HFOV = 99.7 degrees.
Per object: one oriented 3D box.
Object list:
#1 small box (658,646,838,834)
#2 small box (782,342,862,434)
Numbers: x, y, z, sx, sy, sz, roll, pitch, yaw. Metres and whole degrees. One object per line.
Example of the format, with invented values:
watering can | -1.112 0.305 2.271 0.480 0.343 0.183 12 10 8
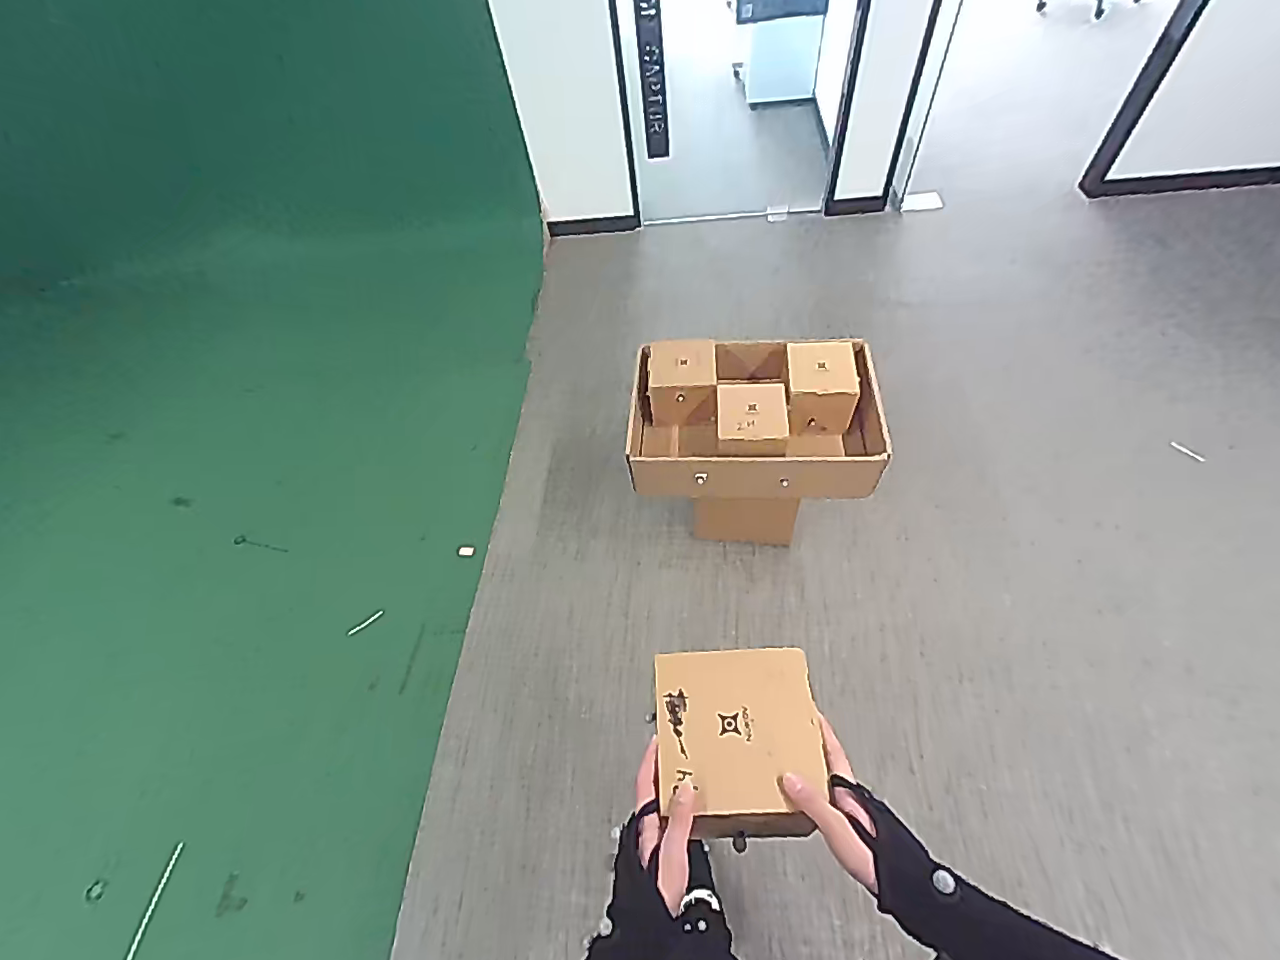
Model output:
small box | 0.110 0.307 0.637 0.179 0.176 0.168 -2 49 2
small box | 0.469 -0.242 1.420 0.168 0.176 0.179 1 57 8
